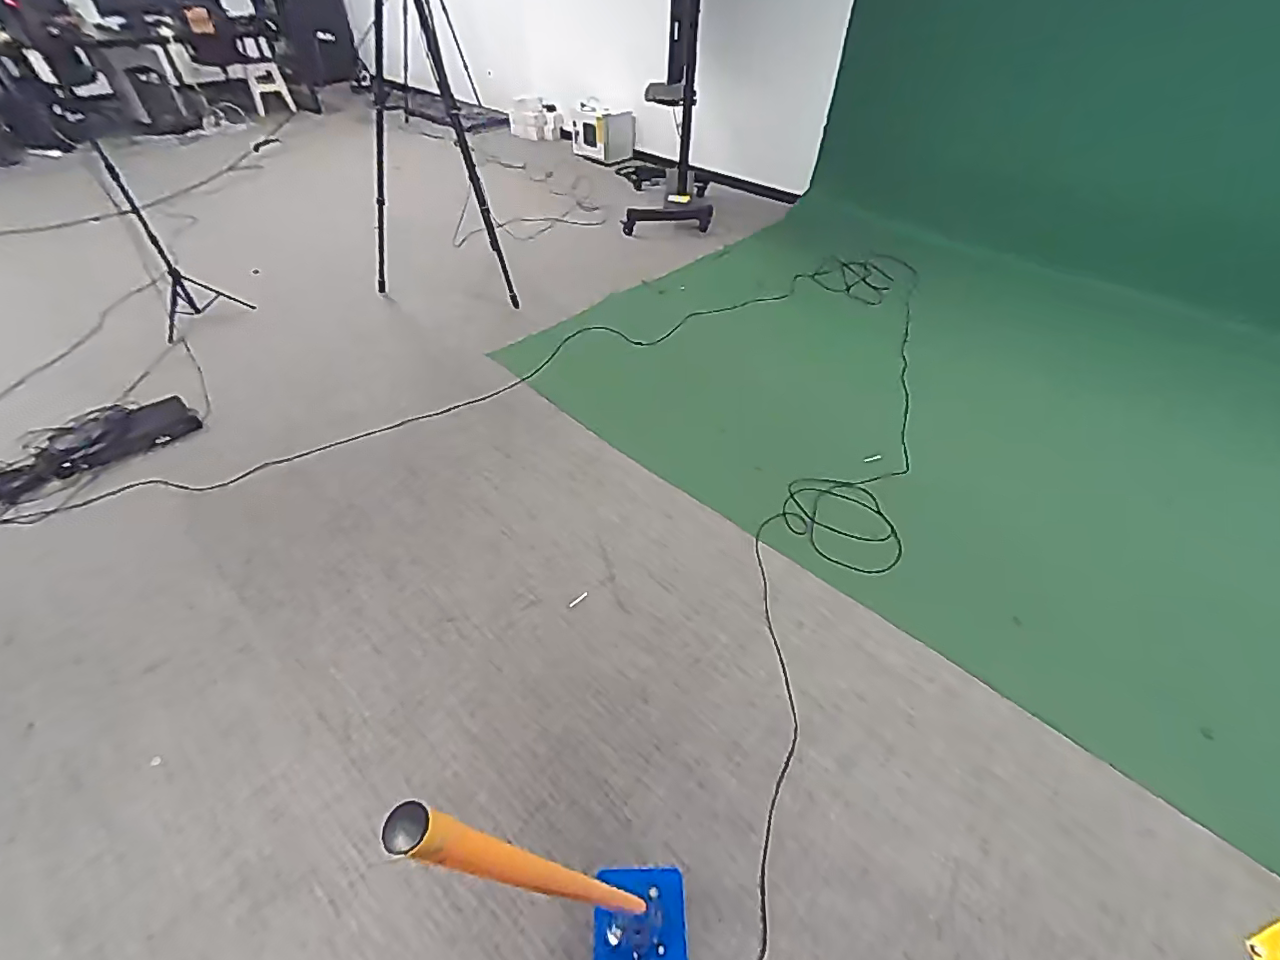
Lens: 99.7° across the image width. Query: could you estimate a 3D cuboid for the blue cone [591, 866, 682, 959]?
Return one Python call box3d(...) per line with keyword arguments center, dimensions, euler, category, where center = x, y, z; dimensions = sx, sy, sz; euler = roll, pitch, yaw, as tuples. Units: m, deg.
box3d(center=(-0.011, 0.834, 1.037), dimensions=(0.193, 0.380, 0.192), euler=(-2, 47, -1), category="blue cone")
